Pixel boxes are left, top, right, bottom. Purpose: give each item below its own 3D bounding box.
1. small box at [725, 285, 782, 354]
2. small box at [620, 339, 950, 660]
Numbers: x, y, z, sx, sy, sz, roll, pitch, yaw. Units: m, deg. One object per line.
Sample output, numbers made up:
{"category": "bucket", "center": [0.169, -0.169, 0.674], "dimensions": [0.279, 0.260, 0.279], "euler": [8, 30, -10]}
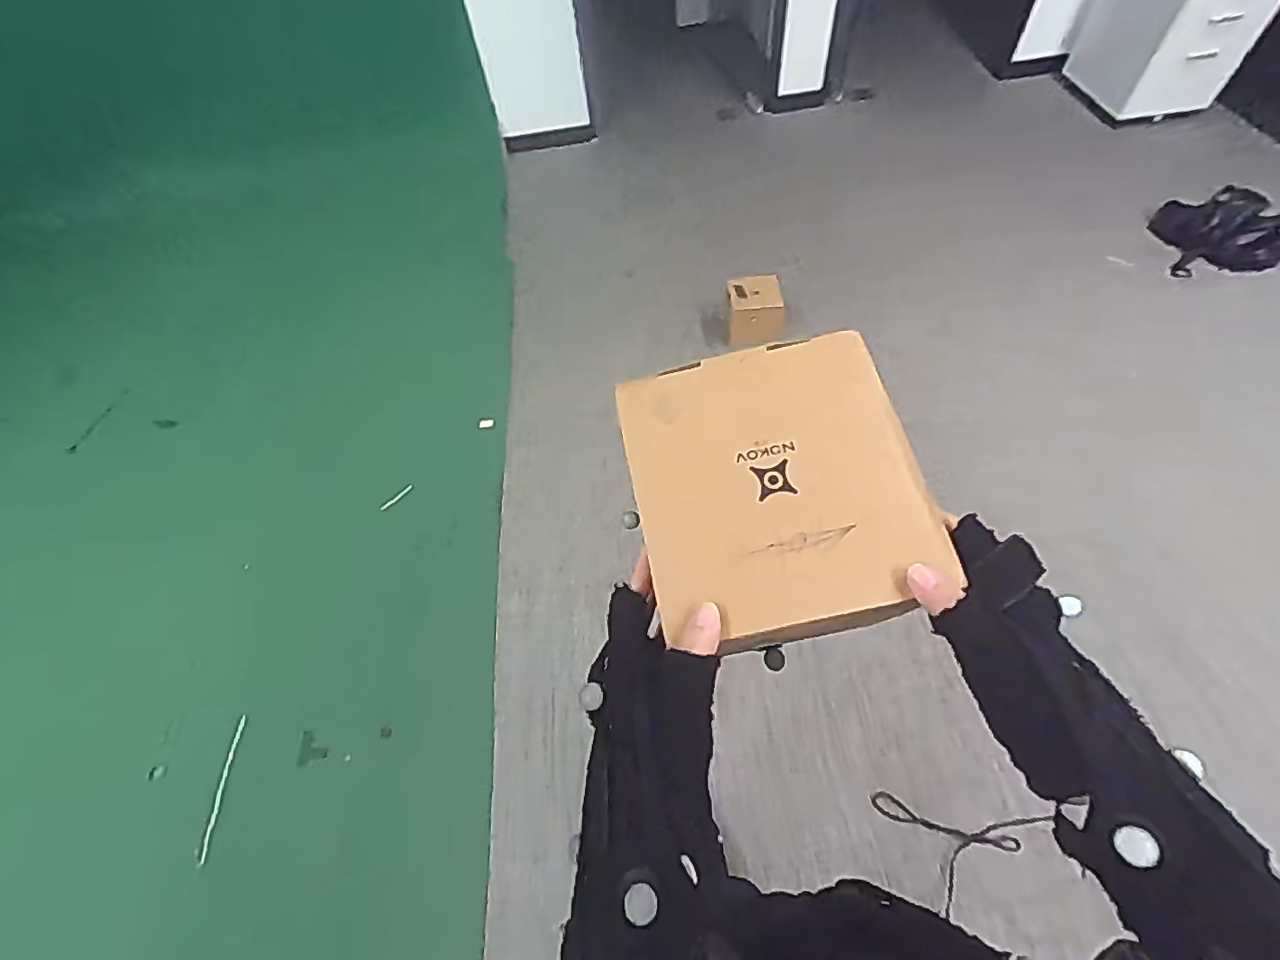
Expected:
{"category": "small box", "center": [0.399, -0.570, 1.934], "dimensions": [0.179, 0.176, 0.168], "euler": [-5, 56, 2]}
{"category": "small box", "center": [0.086, 0.028, 0.406], "dimensions": [0.168, 0.176, 0.179], "euler": [-12, 68, 2]}
